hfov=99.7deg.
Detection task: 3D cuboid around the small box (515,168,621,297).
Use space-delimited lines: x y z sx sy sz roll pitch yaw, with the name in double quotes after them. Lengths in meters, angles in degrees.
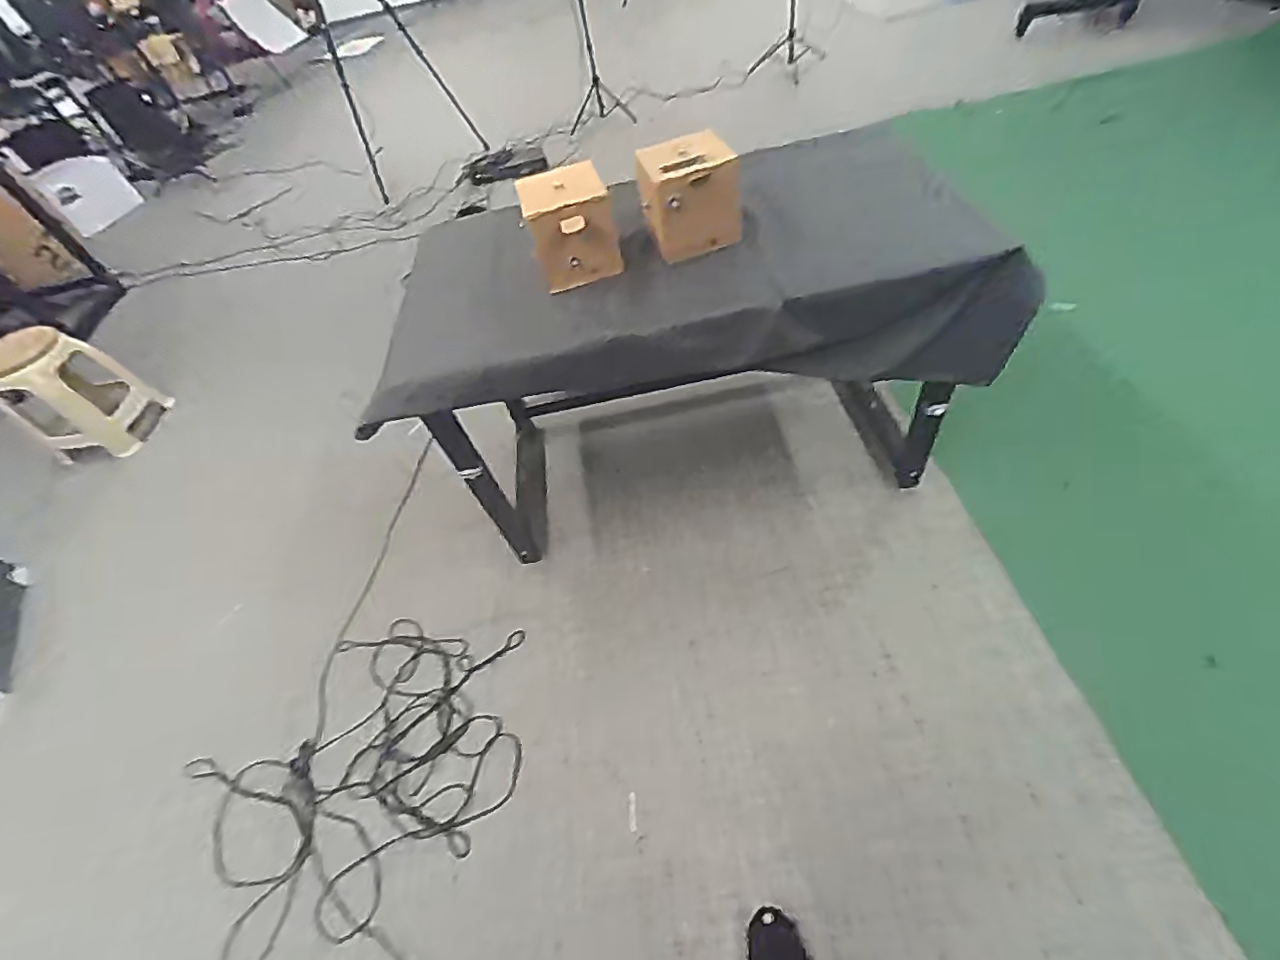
-0.149 -0.512 1.126 0.168 0.176 0.179 -18 51 -3 "small box"
